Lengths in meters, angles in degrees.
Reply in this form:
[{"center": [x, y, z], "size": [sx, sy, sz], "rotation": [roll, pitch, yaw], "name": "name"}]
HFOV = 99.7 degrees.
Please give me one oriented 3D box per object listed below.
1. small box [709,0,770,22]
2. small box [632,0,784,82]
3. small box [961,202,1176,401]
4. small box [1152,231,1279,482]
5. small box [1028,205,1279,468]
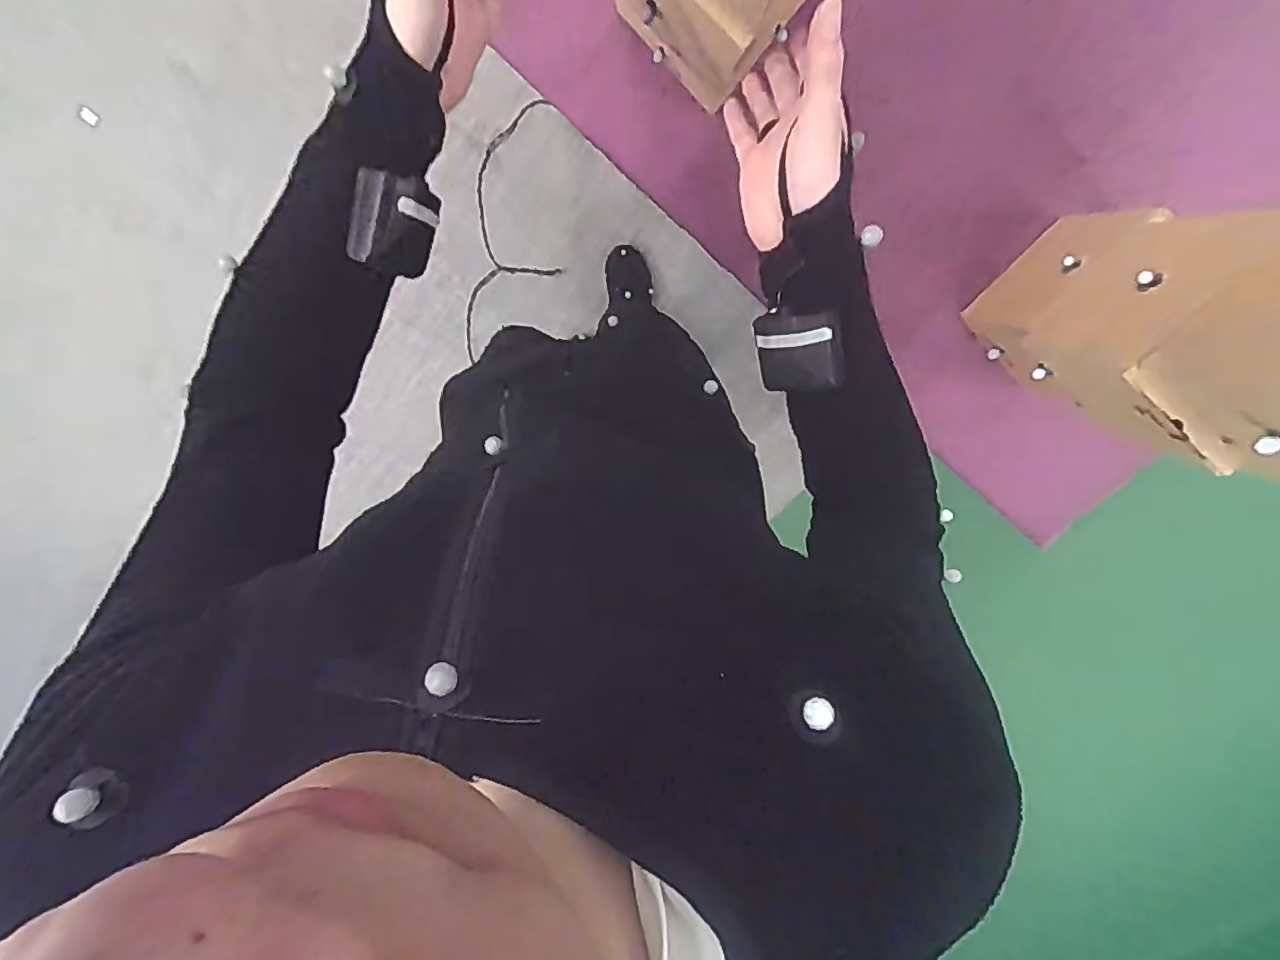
[{"center": [0.066, -0.400, 0.274], "size": [0.168, 0.176, 0.179], "rotation": [36, 111, -13], "name": "small box"}, {"center": [0.065, -0.464, 0.426], "size": [0.168, 0.176, 0.179], "rotation": [36, 111, -14], "name": "small box"}, {"center": [0.569, -0.227, 0.701], "size": [0.168, 0.176, 0.179], "rotation": [39, 110, -14], "name": "small box"}, {"center": [0.553, -0.090, 0.406], "size": [0.168, 0.176, 0.179], "rotation": [36, 109, -12], "name": "small box"}, {"center": [0.551, -0.148, 0.557], "size": [0.168, 0.176, 0.179], "rotation": [37, 109, -13], "name": "small box"}]
